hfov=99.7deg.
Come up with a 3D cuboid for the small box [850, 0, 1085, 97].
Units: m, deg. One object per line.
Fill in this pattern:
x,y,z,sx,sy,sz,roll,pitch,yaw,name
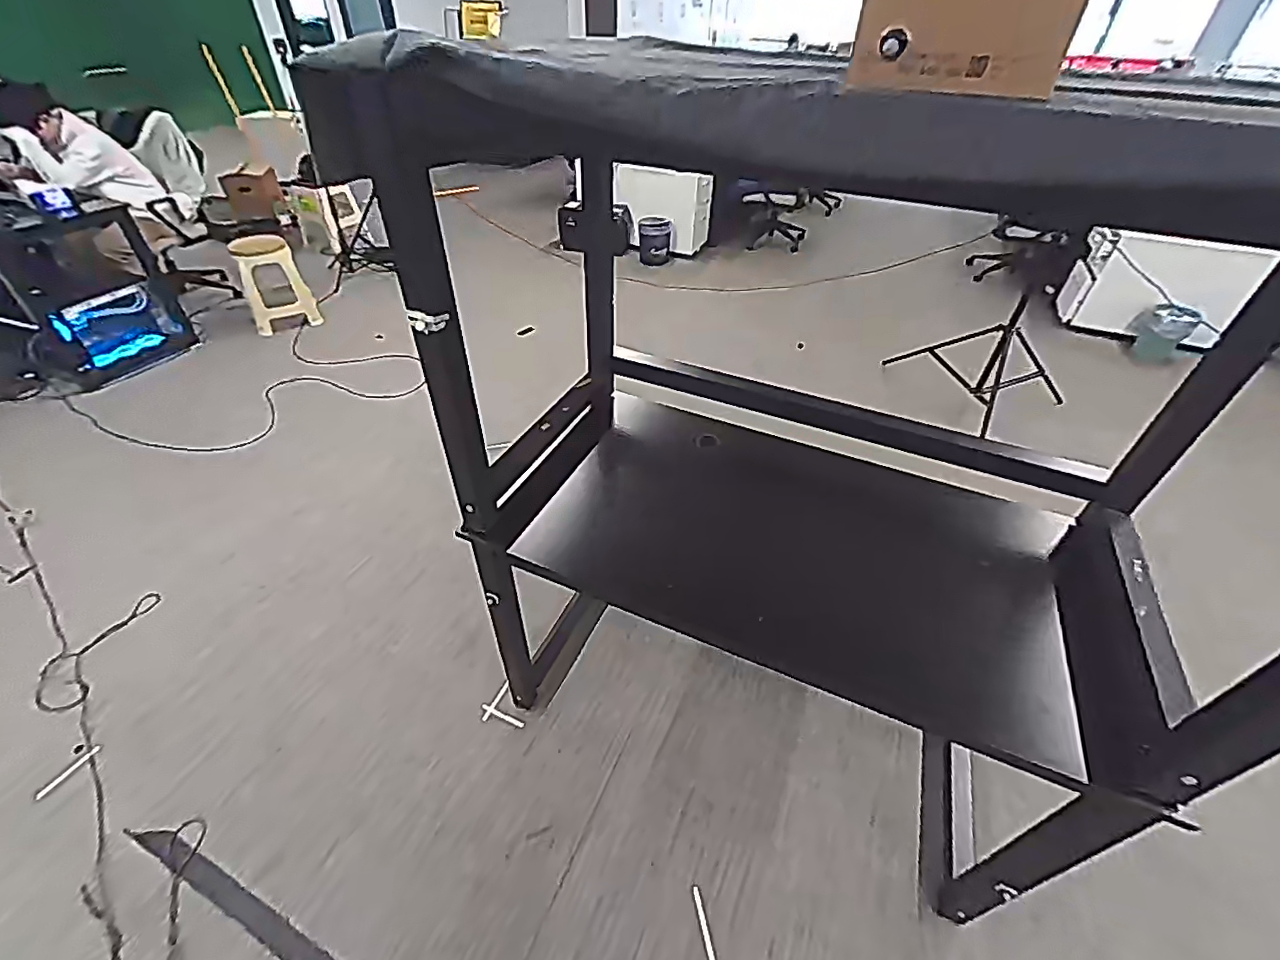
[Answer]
0.296,-0.446,0.475,0.168,0.176,0.179,17,41,17,small box
